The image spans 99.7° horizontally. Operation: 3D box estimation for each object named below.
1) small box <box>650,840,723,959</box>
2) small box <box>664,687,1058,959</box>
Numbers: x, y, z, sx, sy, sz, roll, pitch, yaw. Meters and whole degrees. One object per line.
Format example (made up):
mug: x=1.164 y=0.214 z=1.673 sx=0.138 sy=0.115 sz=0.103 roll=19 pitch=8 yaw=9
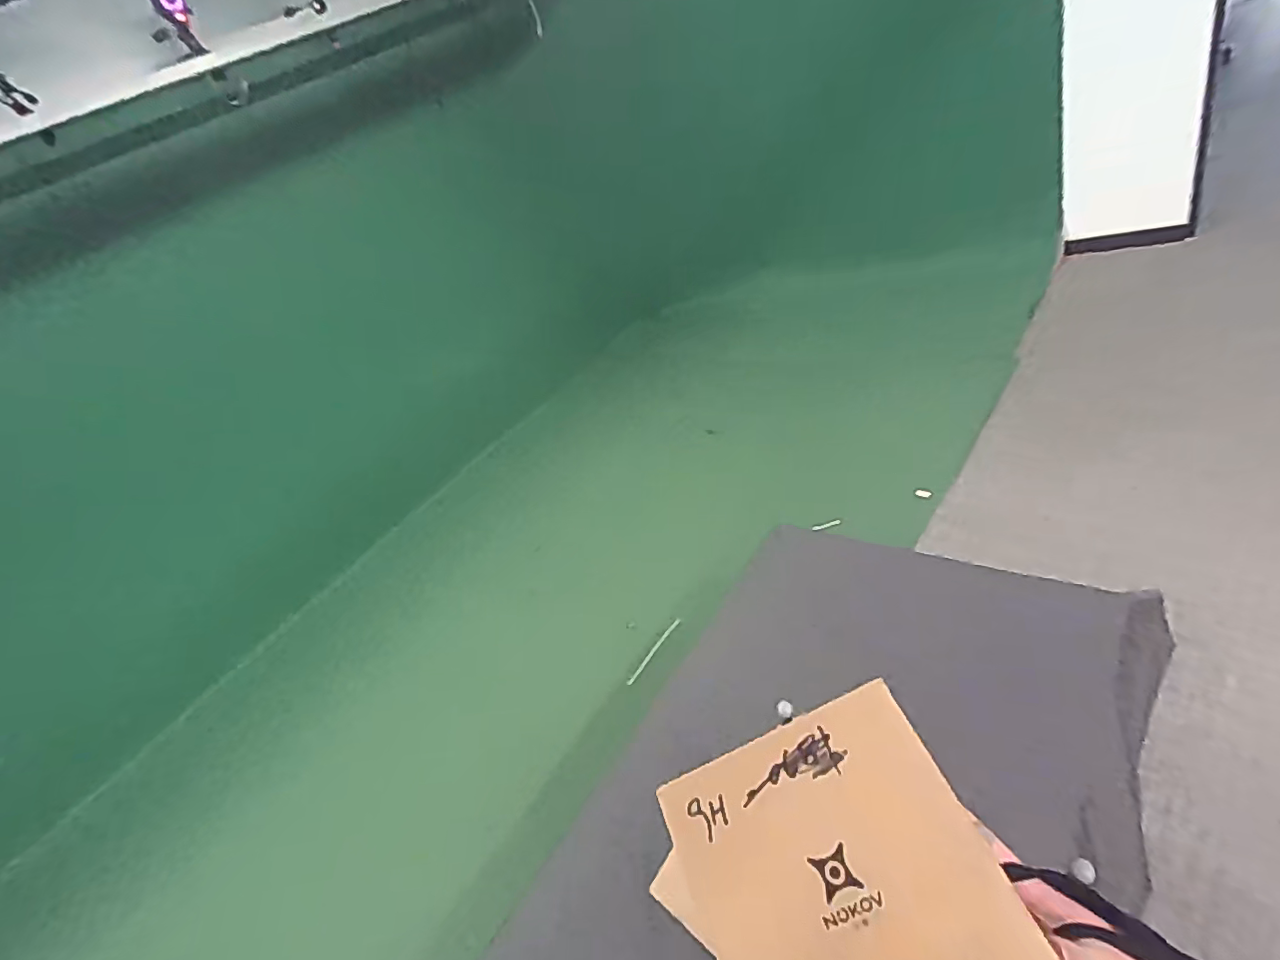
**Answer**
small box: x=0.151 y=0.508 z=0.661 sx=0.179 sy=0.176 sz=0.168 roll=10 pitch=48 yaw=46
small box: x=0.141 y=0.262 z=0.373 sx=0.168 sy=0.176 sz=0.179 roll=-28 pitch=61 yaw=5
